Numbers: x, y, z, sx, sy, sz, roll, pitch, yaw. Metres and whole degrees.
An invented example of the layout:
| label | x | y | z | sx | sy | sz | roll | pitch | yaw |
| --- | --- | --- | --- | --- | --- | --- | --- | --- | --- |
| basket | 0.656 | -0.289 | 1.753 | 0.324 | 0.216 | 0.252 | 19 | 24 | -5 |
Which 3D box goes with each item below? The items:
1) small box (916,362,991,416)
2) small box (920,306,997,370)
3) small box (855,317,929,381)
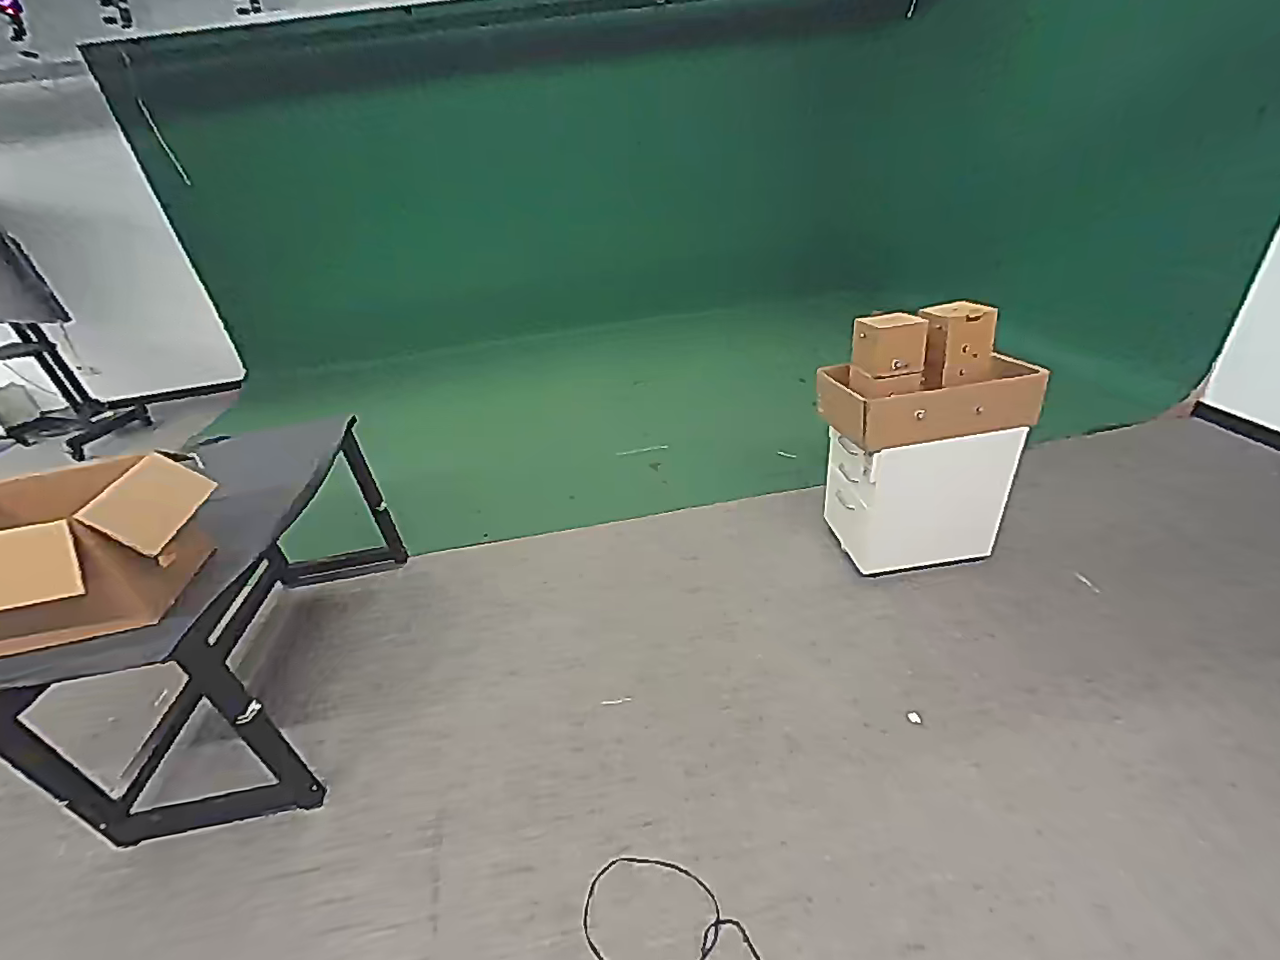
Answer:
| label | x | y | z | sx | sy | sz | roll | pitch | yaw |
| --- | --- | --- | --- | --- | --- | --- | --- | --- | --- |
| small box | 1.099 | -0.339 | 1.911 | 0.168 | 0.176 | 0.179 | -12 | 25 | -1 |
| small box | 1.071 | -0.483 | 1.842 | 0.168 | 0.176 | 0.179 | -12 | 27 | -2 |
| small box | 0.841 | -0.442 | 1.825 | 0.168 | 0.176 | 0.179 | -10 | 27 | -3 |
